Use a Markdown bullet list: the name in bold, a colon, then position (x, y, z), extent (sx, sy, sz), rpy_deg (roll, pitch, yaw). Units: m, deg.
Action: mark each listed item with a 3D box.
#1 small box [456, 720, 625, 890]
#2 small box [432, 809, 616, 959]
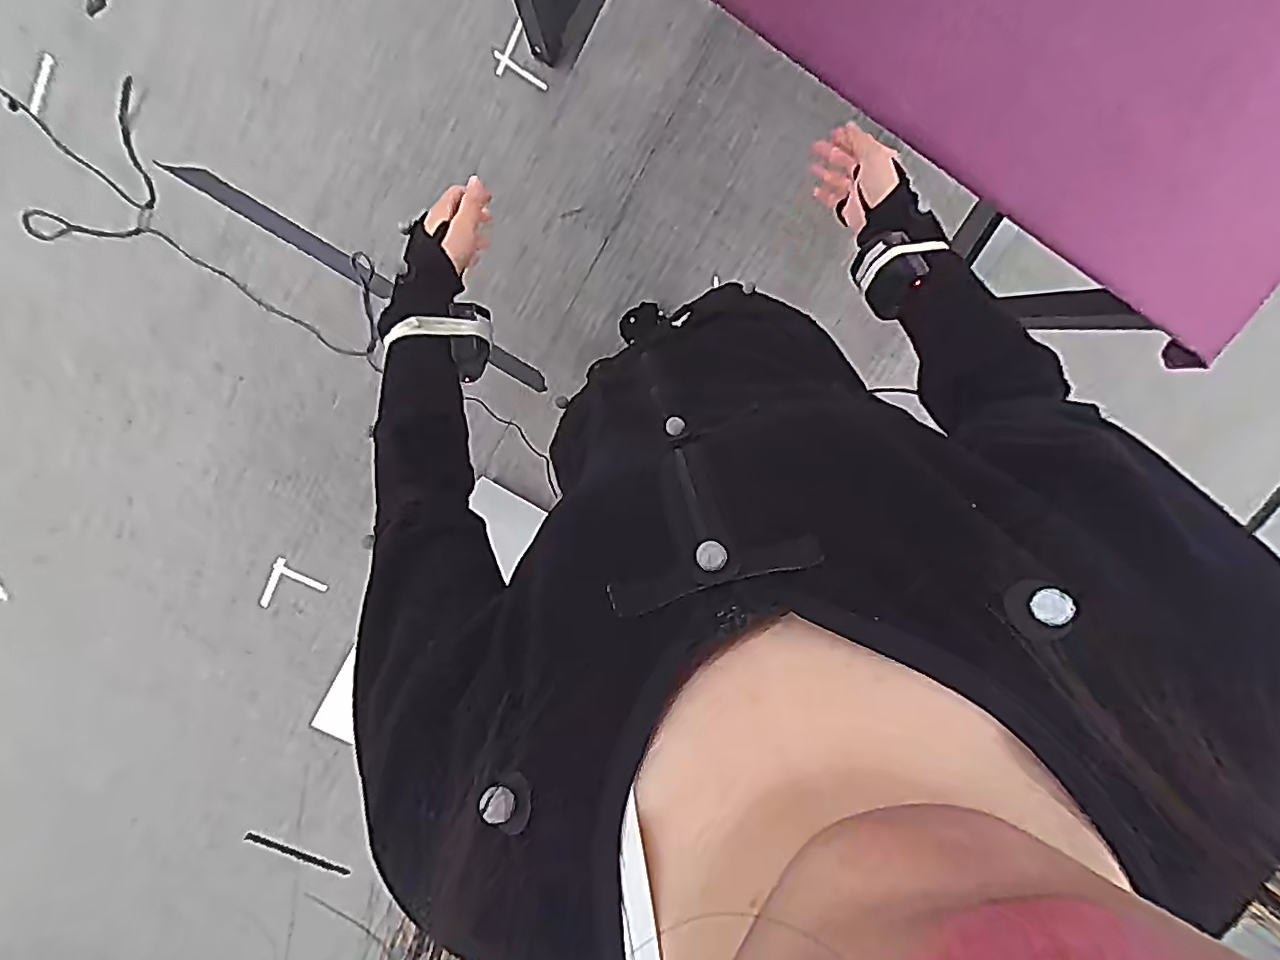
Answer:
- **small box**: position (-0.135, 0.490, 0.784), extent (0.168, 0.176, 0.179), rpy_deg (29, 104, -9)
- **small box**: position (-0.134, 0.536, 0.628), extent (0.168, 0.176, 0.179), rpy_deg (29, 103, -10)
